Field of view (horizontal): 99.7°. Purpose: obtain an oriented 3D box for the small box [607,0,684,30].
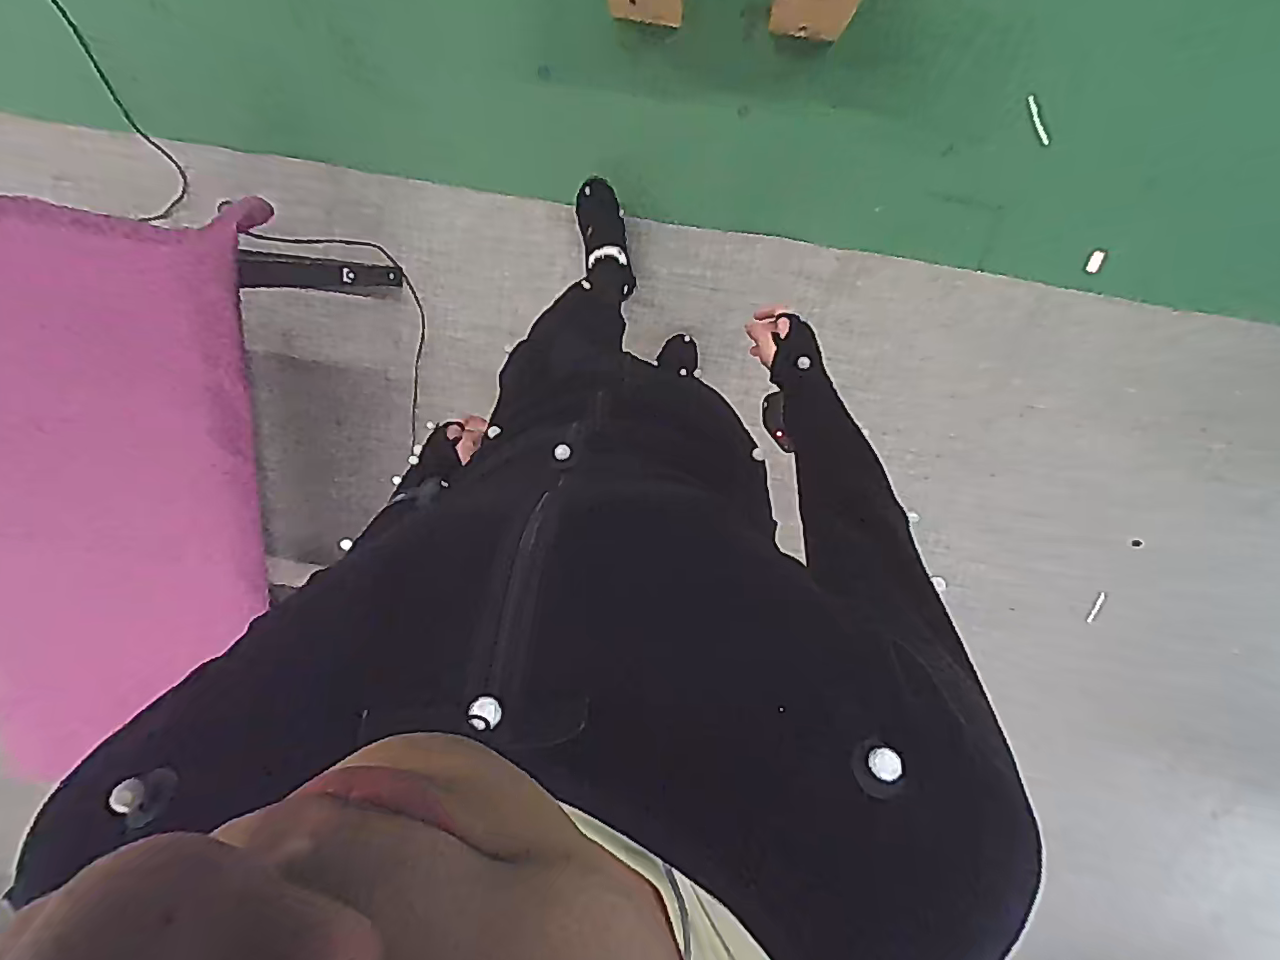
[{"bbox_3d":[0.019,-1.123,1.172,0.168,0.176,0.179,11,109,2],"label":"small box"}]
